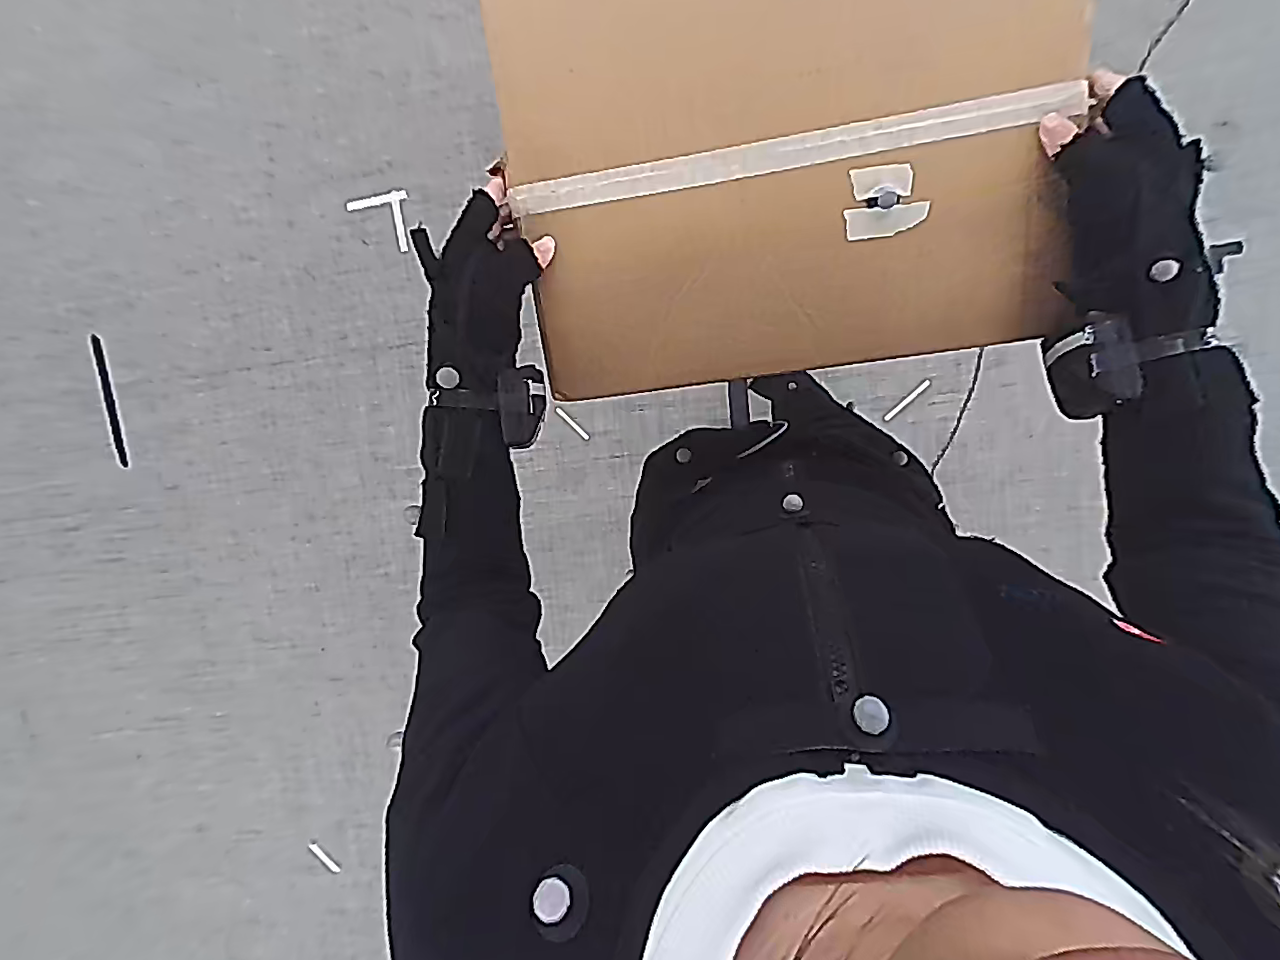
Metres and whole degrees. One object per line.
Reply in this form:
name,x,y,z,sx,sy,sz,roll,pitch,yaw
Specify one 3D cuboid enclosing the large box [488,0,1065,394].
large box,0.114,-0.282,0.553,0.408,0.320,0.320,-7,104,6
